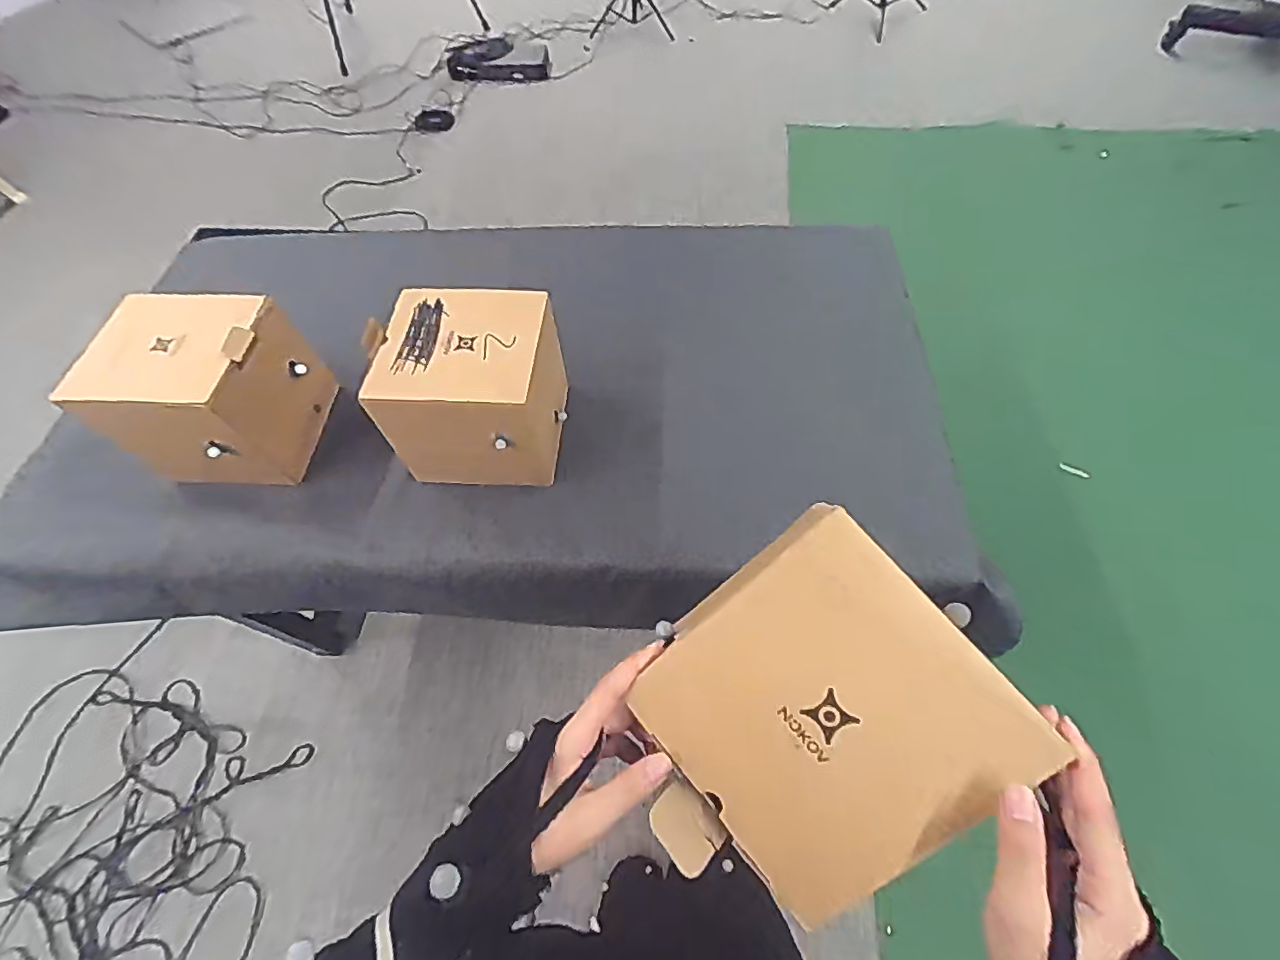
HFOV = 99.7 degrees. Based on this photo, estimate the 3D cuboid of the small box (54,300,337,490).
[{"bbox_3d":[-0.515,-0.098,0.664,0.179,0.176,0.168,0,58,3],"label":"small box"}]
